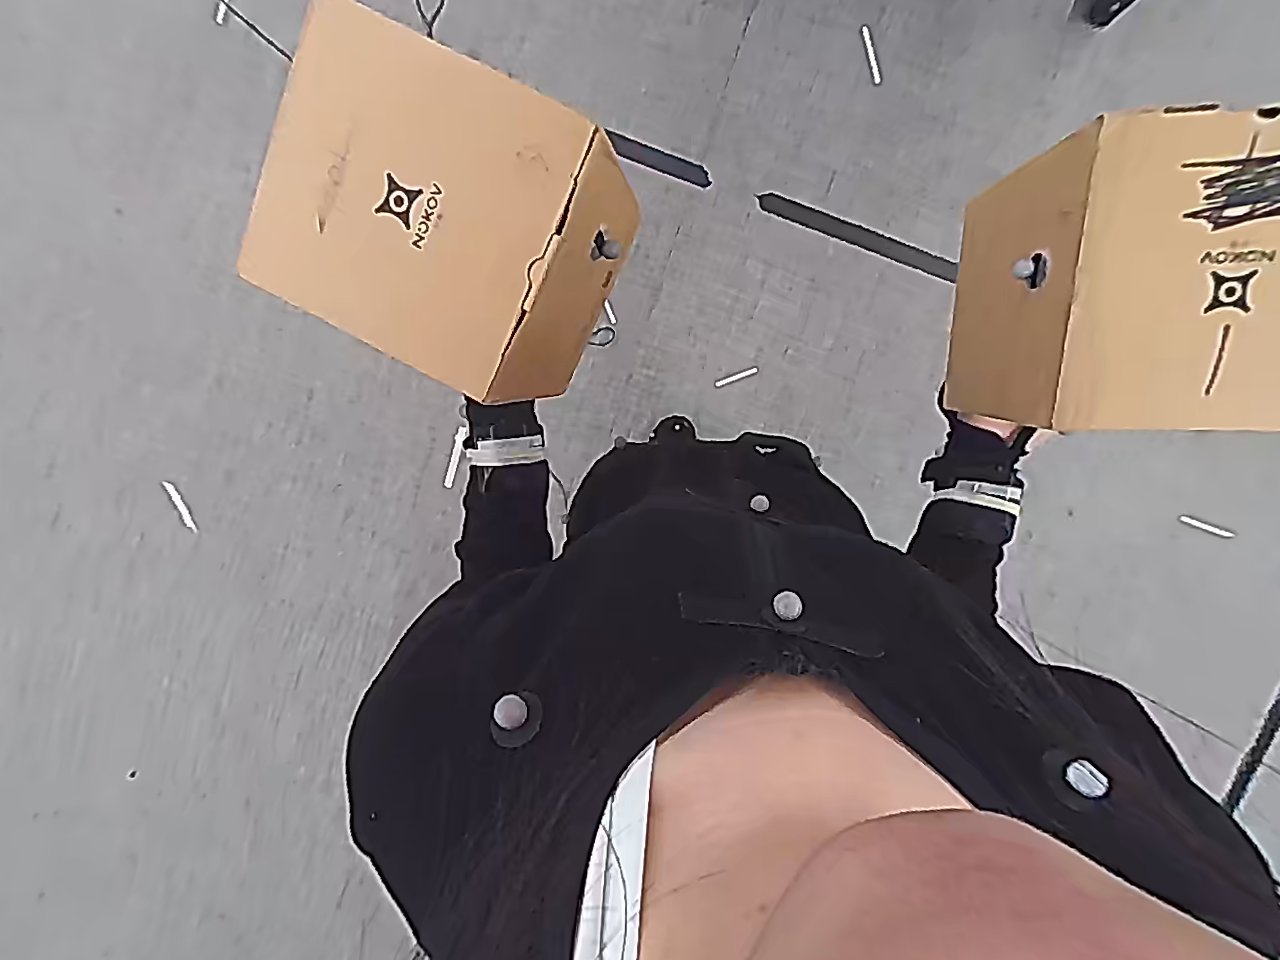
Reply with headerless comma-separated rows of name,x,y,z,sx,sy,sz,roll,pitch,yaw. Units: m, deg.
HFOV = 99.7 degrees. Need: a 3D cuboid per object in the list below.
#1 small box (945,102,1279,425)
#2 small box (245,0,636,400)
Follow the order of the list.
small box,0.342,-0.134,0.385,0.168,0.176,0.179,1,103,8
small box,-0.118,-0.171,0.385,0.179,0.176,0.168,27,103,3
